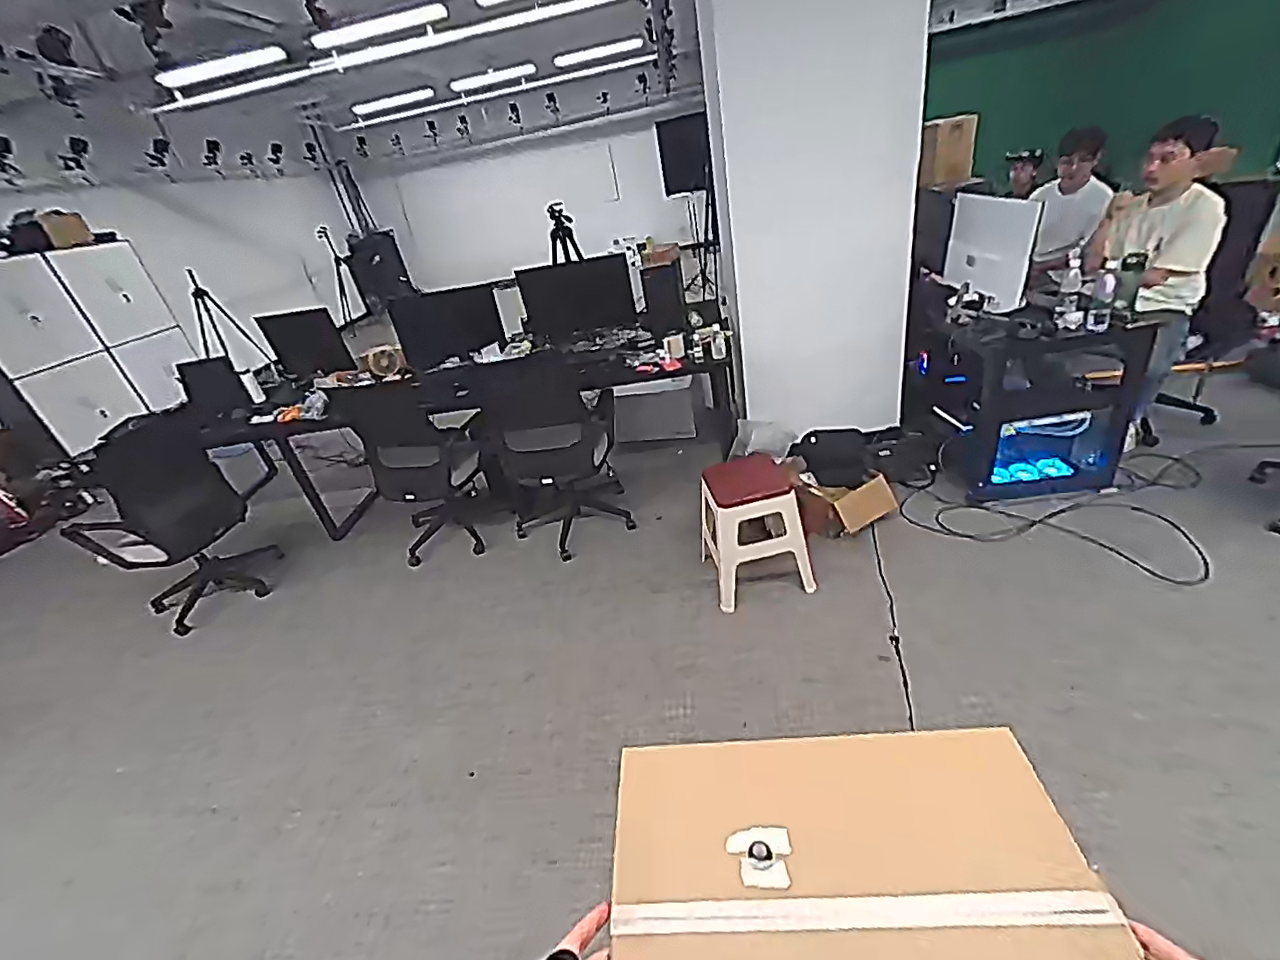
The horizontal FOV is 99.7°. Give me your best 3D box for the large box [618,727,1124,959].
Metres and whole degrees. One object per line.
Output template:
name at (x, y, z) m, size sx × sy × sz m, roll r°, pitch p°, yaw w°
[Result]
large box at (0.202, 0.494, 0.545) m, size 0.408 × 0.320 × 0.320 m, roll -7°, pitch 33°, yaw 6°
